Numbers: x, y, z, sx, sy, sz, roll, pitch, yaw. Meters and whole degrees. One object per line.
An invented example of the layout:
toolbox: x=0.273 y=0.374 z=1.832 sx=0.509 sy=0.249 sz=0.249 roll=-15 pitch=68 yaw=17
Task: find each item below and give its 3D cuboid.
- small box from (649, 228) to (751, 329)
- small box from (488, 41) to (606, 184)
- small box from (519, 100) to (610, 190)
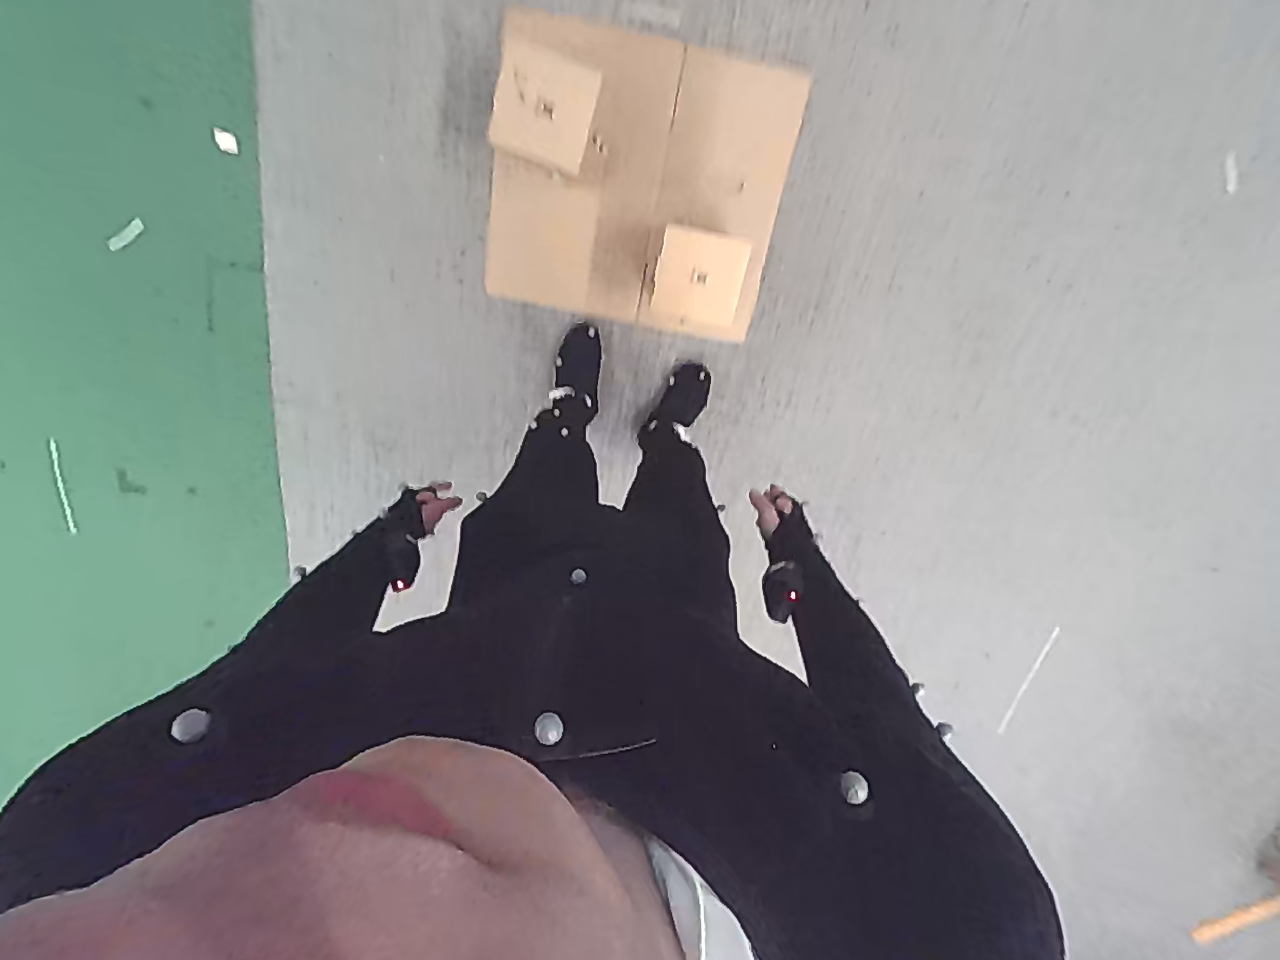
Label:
small box: x=0.119 y=-0.431 z=1.150 sx=0.179 sy=0.176 sz=0.168 roll=11 pitch=113 yaw=-3
small box: x=-0.170 y=-0.688 z=1.039 sx=0.179 sy=0.176 sz=0.168 roll=17 pitch=111 yaw=-7
small box: x=-0.171 y=-0.757 z=1.190 sx=0.179 sy=0.176 sz=0.168 roll=18 pitch=111 yaw=-7
